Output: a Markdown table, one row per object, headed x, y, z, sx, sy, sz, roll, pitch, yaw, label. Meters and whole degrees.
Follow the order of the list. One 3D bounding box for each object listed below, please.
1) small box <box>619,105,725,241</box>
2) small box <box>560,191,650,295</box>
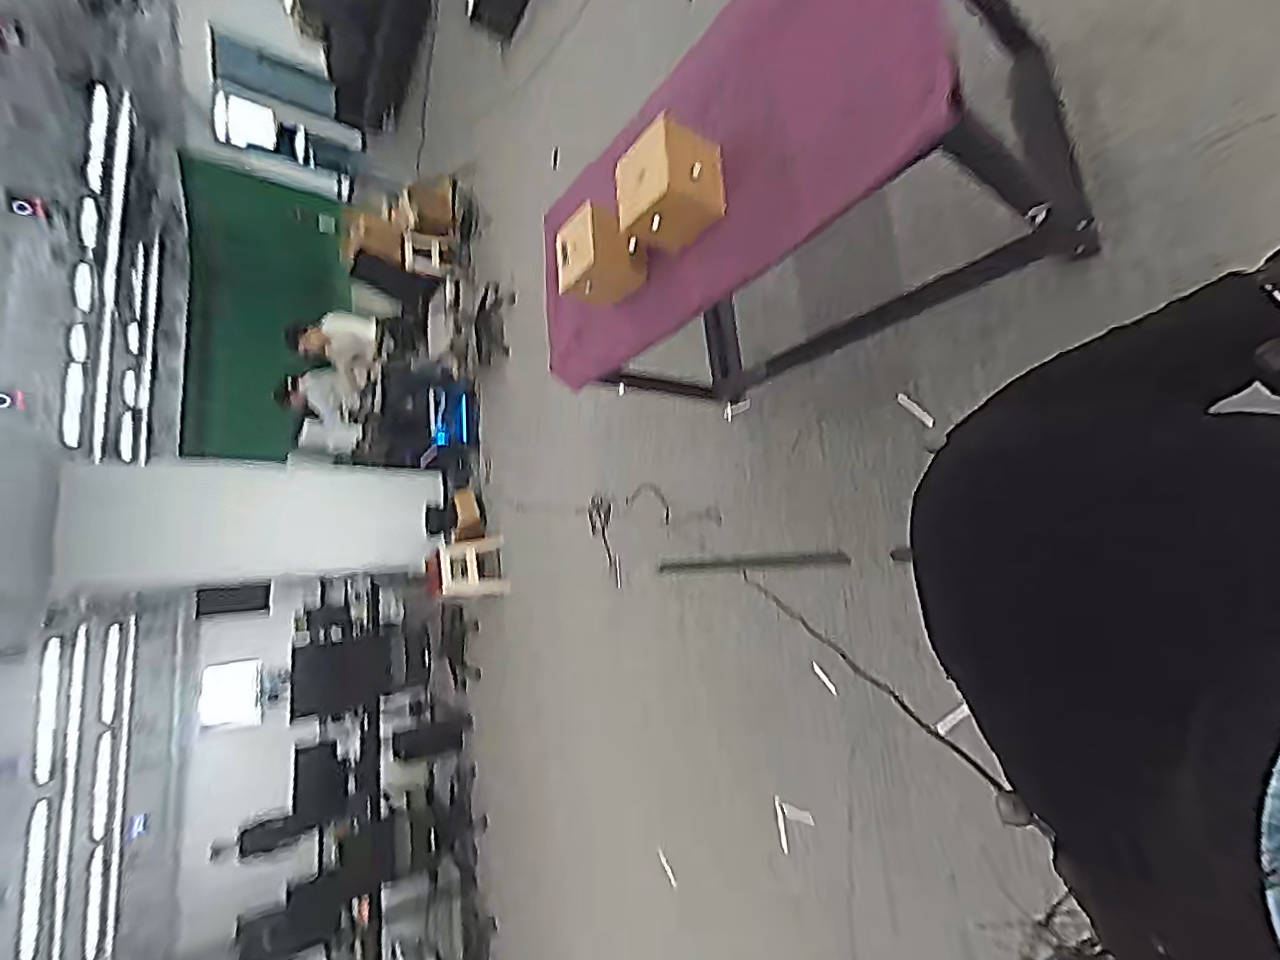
| x | y | z | sx | sy | sz | roll | pitch | yaw | label |
| --- | --- | --- | --- | --- | --- | --- | --- | --- | --- |
| 0.074 | -0.664 | 1.192 | 0.179 | 0.176 | 0.168 | -16 | 75 | 52 | small box |
| -0.094 | -0.608 | 1.414 | 0.179 | 0.176 | 0.168 | -16 | 76 | 51 | small box |
